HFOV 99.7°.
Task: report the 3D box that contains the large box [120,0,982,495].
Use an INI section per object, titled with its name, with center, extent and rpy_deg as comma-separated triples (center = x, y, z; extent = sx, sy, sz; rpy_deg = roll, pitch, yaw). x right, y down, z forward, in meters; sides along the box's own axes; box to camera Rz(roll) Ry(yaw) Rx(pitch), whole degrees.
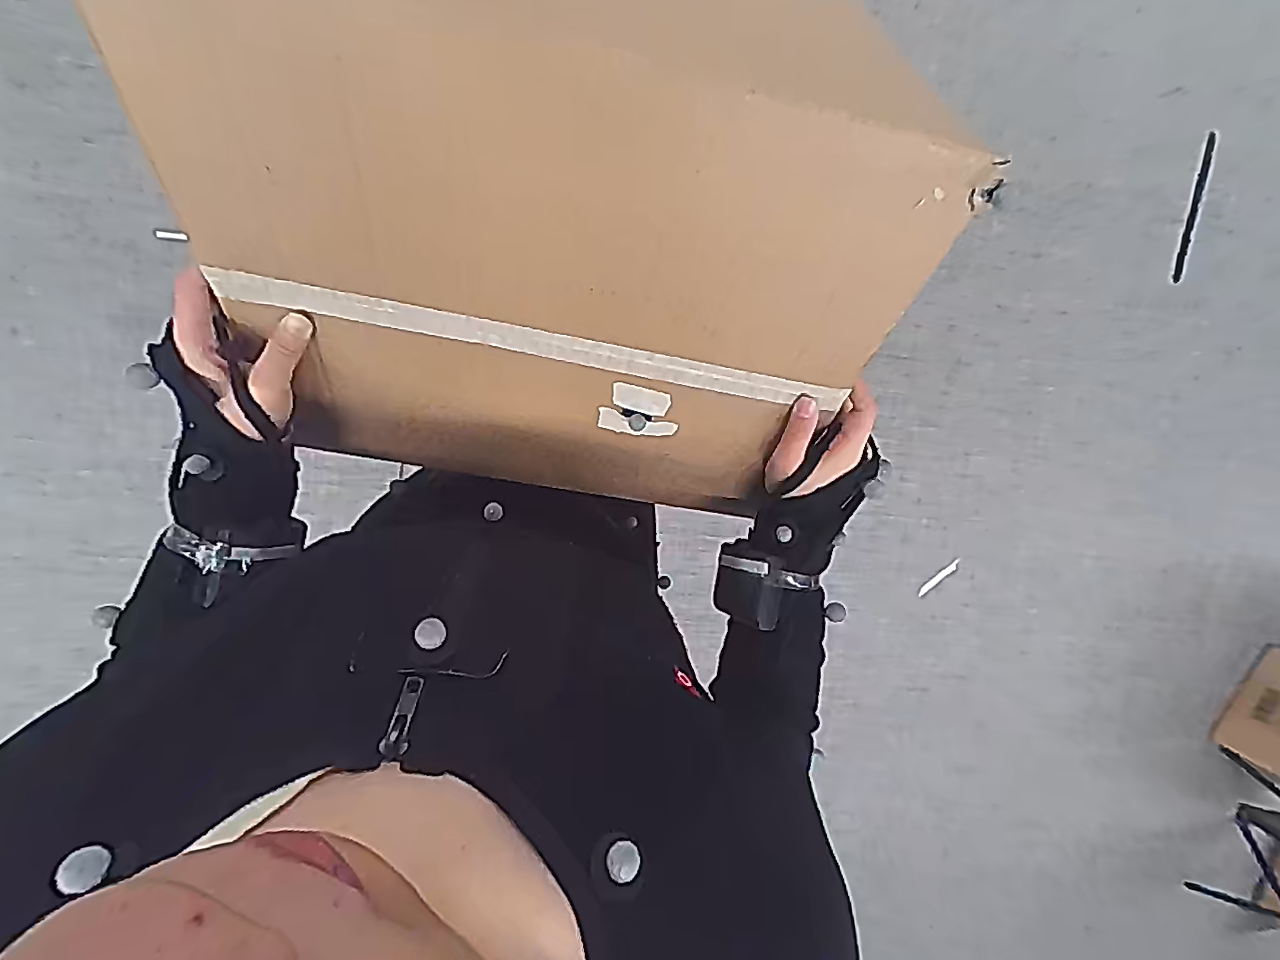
[large box]
center = -0.050, -0.219, 0.447
extent = 0.408, 0.320, 0.320
rpy_deg = 8, 144, -9
